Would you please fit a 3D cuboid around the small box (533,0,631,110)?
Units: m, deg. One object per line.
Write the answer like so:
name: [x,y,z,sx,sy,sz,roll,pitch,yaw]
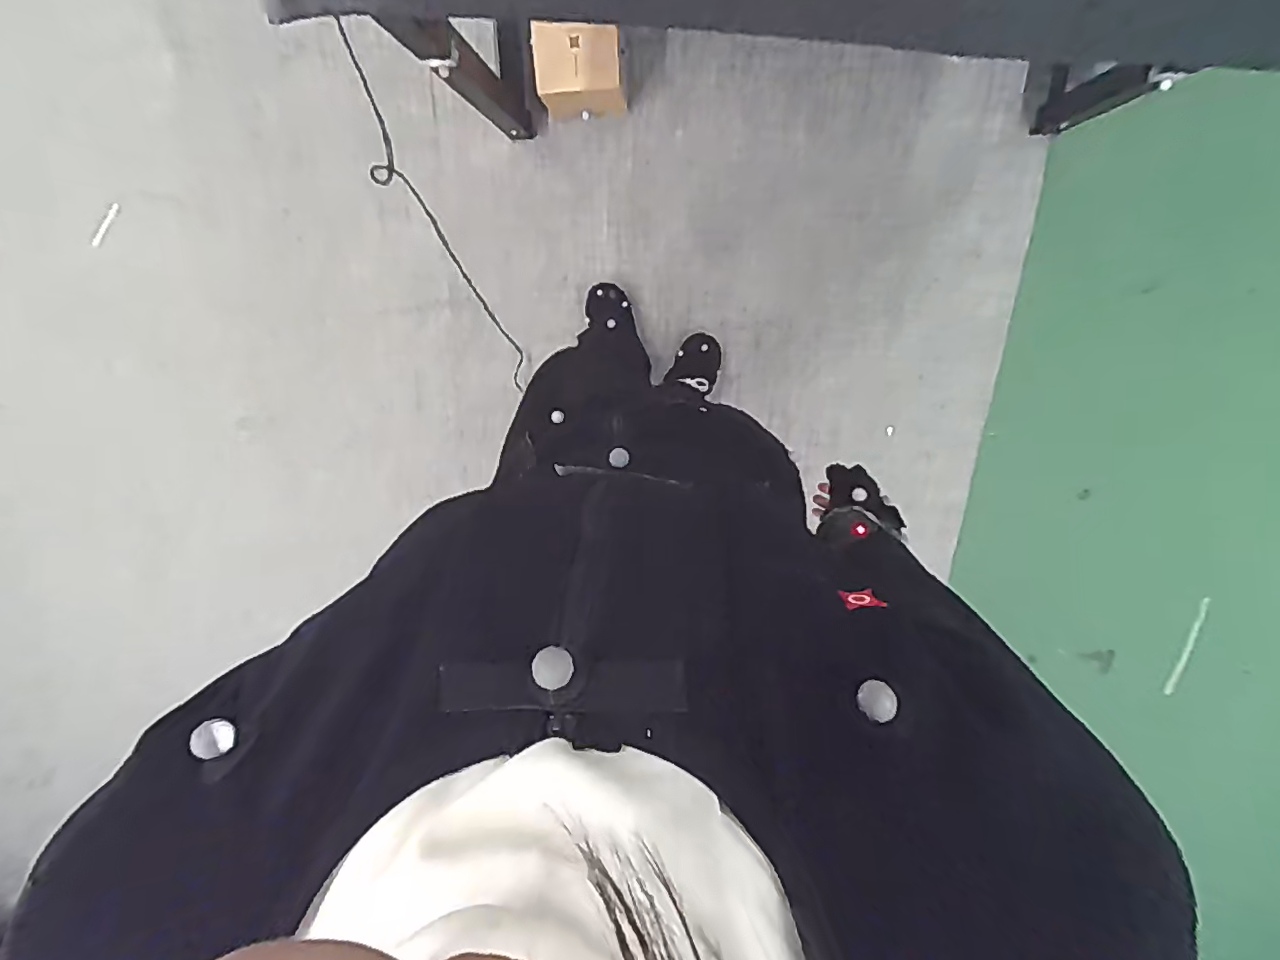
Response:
small box: [-0.111,-0.876,1.087,0.168,0.176,0.179,-1,110,6]
